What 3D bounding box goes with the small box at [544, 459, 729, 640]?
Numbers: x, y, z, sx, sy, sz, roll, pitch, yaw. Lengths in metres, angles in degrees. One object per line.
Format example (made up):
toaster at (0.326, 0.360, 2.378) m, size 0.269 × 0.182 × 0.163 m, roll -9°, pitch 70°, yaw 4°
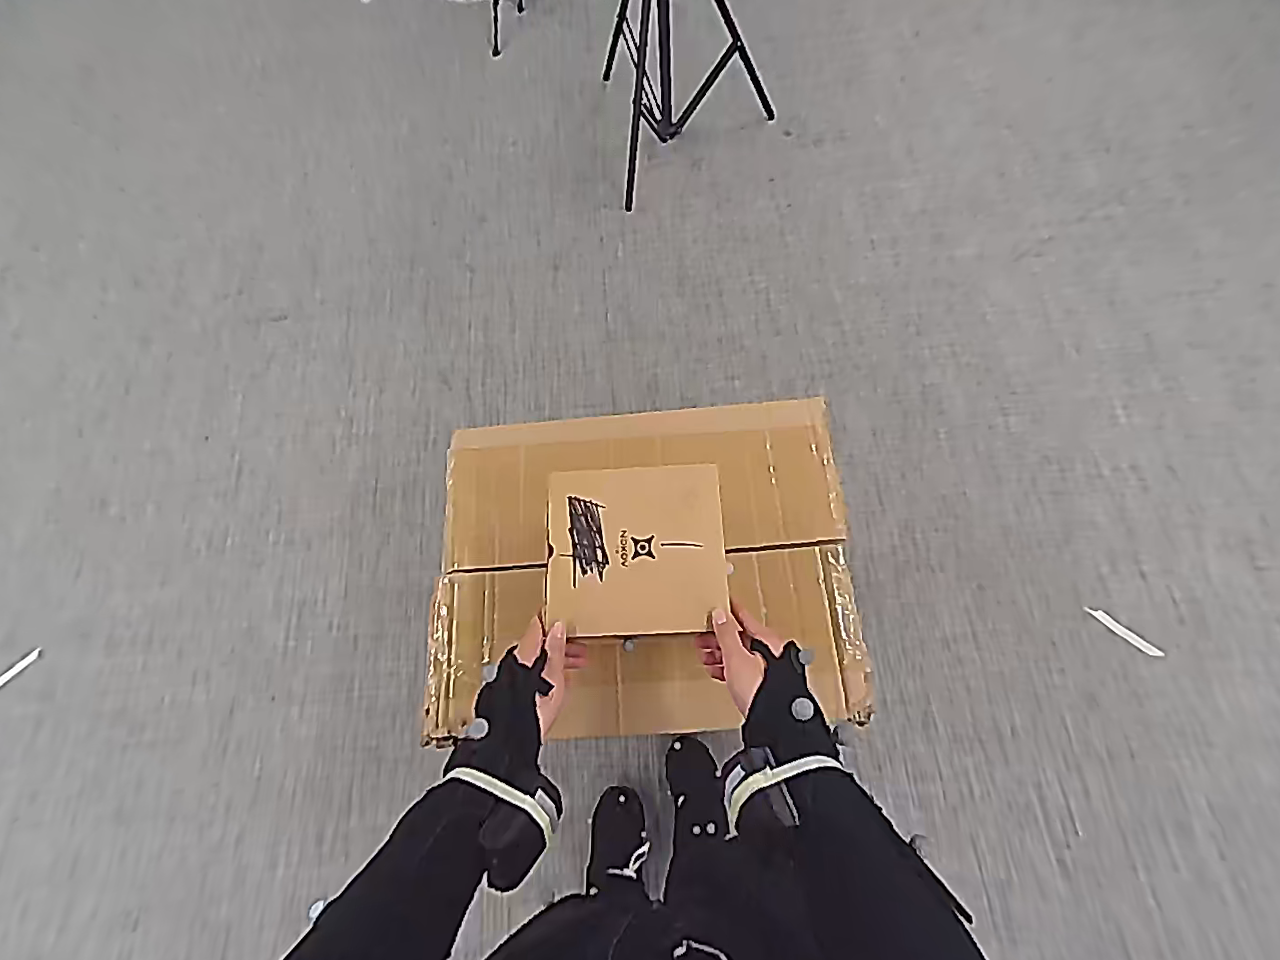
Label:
small box at (0.000, 0.086, 0.601) m, size 0.179 × 0.176 × 0.168 m, roll -4°, pitch 71°, yaw 3°
